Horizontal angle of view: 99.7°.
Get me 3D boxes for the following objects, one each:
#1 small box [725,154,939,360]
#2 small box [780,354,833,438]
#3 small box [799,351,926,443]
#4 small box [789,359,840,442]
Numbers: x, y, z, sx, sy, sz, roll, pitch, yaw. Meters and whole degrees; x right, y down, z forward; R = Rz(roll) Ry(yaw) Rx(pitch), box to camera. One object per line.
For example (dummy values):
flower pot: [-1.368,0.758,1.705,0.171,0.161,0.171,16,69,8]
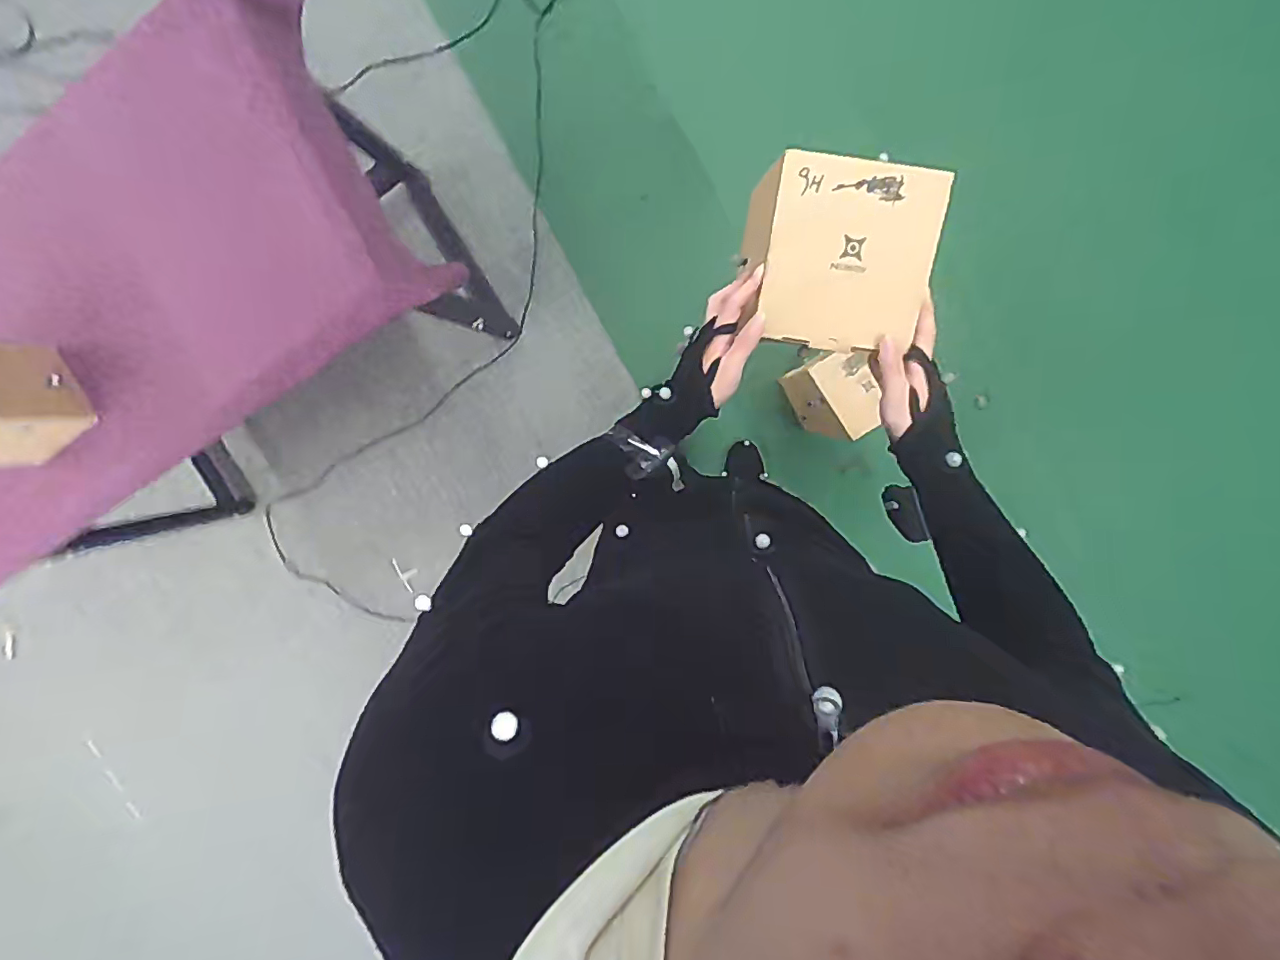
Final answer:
small box: [0.196,-0.239,0.613,0.168,0.176,0.179,7,106,-1]
small box: [0.497,-0.231,1.466,0.168,0.176,0.179,-28,92,10]
small box: [0.457,-0.193,1.145,0.168,0.176,0.179,-32,92,11]
small box: [0.480,-0.209,1.306,0.168,0.176,0.179,-31,91,10]
